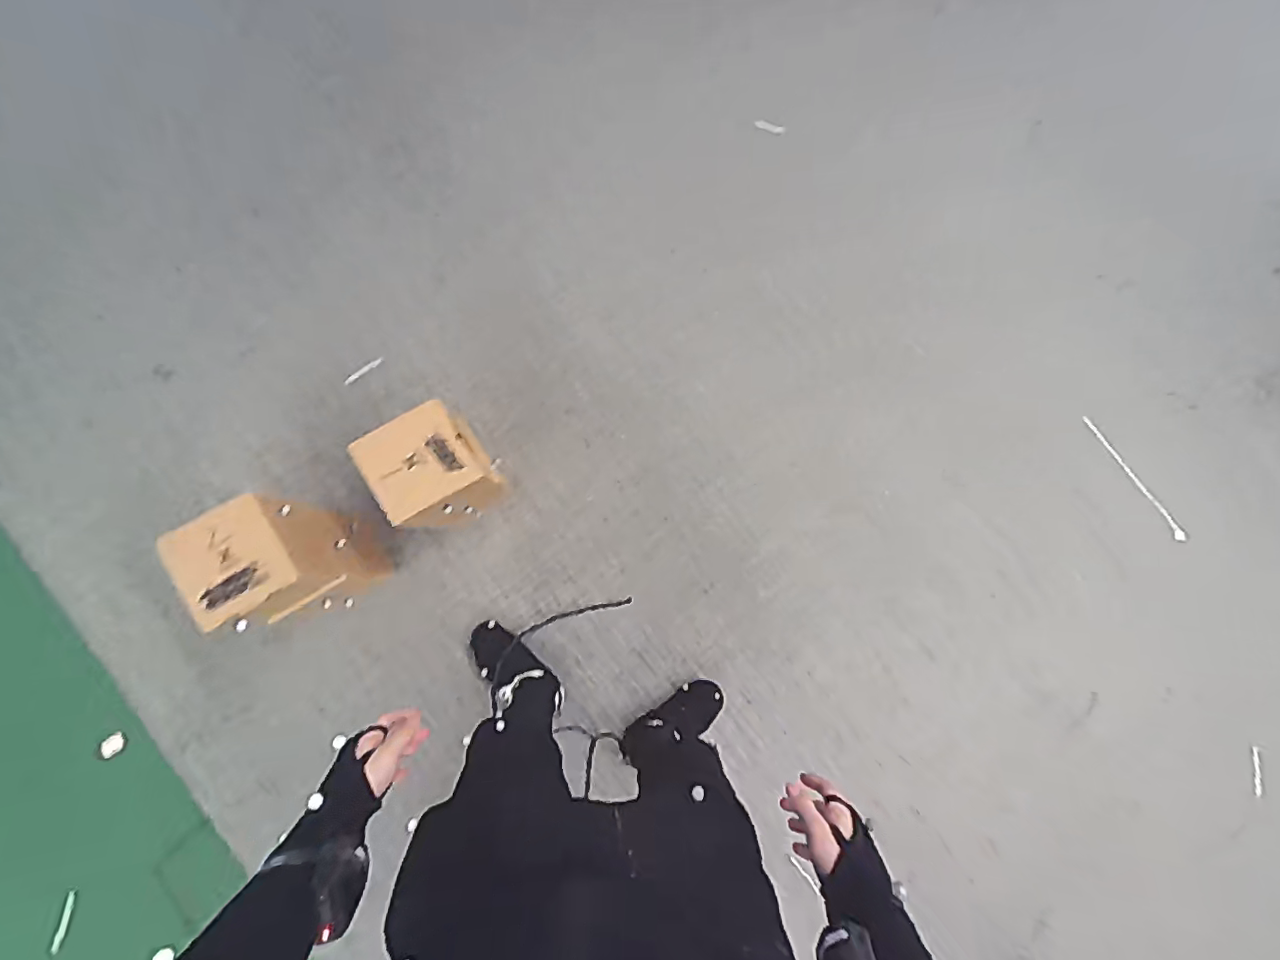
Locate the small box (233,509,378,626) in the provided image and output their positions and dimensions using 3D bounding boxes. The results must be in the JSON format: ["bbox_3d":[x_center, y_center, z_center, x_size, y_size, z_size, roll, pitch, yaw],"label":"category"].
[{"bbox_3d":[-0.688,0.180,1.136,0.168,0.176,0.179,-32,85,-10],"label":"small box"}]

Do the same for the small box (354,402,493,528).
[{"bbox_3d":[-0.397,-0.021,1.032,0.179,0.176,0.168,-31,86,-9],"label":"small box"}]

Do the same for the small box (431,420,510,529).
[{"bbox_3d":[-0.408,-0.003,1.194,0.179,0.176,0.168,-33,87,-10],"label":"small box"}]

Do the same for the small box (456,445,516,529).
[{"bbox_3d":[-0.433,0.011,1.356,0.179,0.176,0.168,-36,87,-9],"label":"small box"}]

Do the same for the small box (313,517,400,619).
[{"bbox_3d":[-0.710,0.207,1.298,0.168,0.176,0.179,-33,86,-10],"label":"small box"}]
